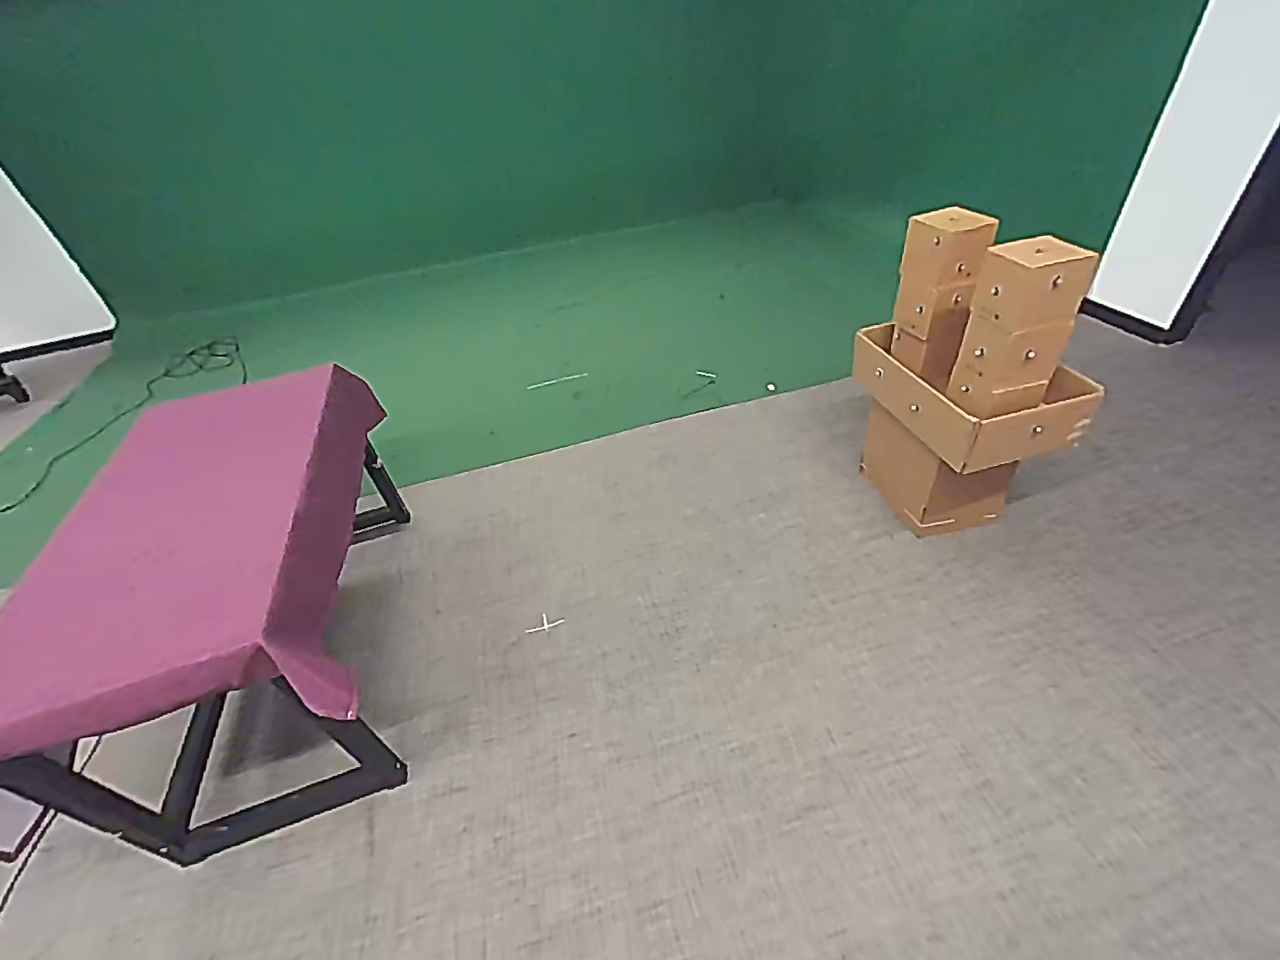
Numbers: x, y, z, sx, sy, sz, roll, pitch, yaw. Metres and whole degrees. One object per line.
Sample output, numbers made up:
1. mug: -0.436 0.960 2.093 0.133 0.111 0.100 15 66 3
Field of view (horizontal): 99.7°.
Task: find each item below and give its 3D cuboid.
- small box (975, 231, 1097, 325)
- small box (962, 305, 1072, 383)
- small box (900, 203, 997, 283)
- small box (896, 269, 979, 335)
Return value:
1. small box: 0.993 -0.512 1.381 0.179 0.176 0.168 -12 41 -4
2. small box: 1.017 -0.384 1.483 0.179 0.176 0.168 -13 41 -3
3. small box: 0.921 -0.714 1.634 0.168 0.176 0.179 -18 42 -10
4. small box: 0.945 -0.584 1.729 0.179 0.176 0.168 -16 42 -9
